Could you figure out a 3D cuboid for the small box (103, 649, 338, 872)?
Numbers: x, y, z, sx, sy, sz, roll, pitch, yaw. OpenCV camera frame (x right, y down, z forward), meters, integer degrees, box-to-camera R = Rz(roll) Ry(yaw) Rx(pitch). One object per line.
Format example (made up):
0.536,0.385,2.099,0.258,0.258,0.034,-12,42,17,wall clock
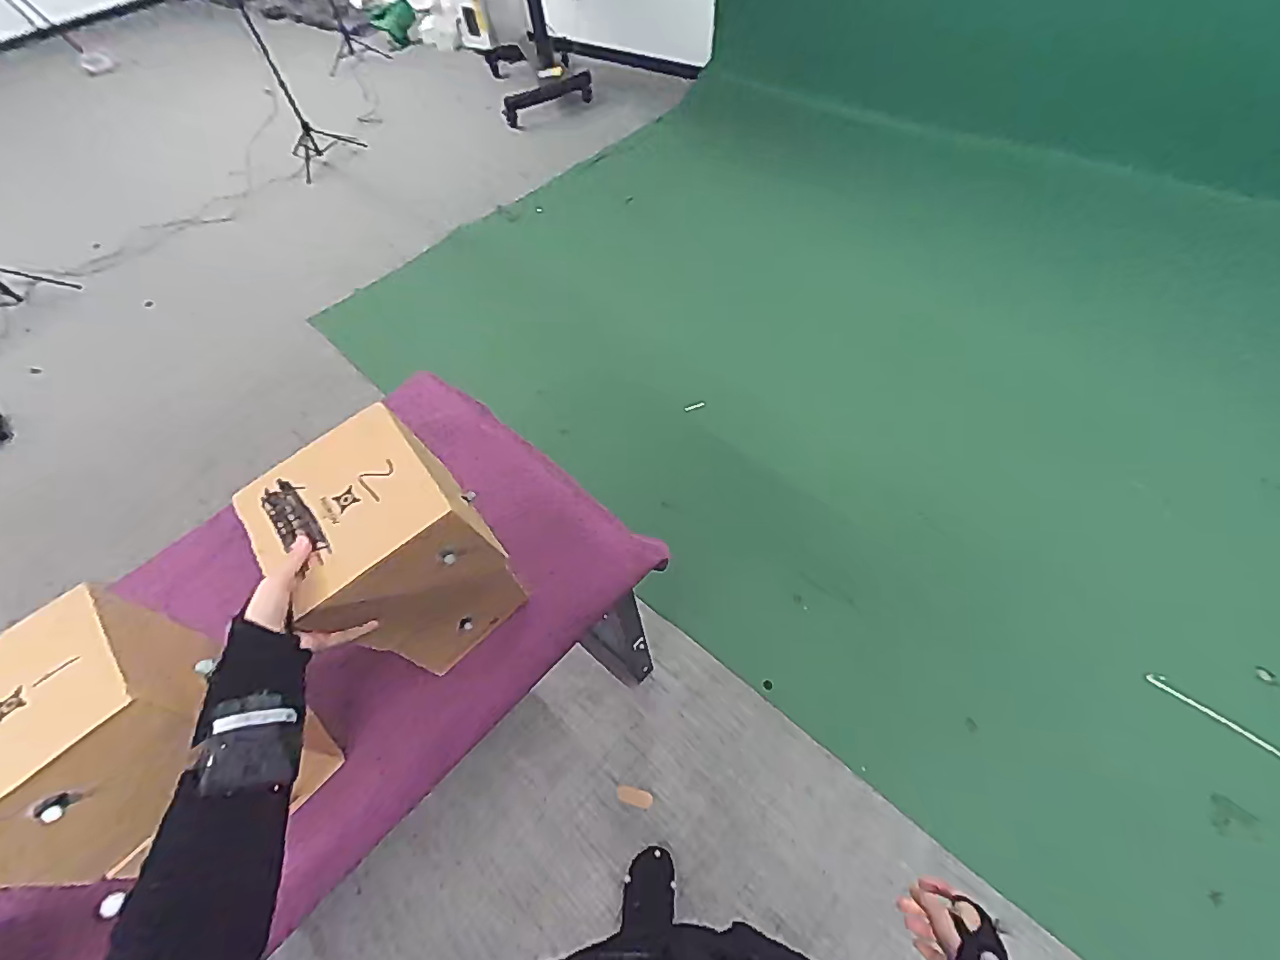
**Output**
-0.509,0.326,0.650,0.179,0.176,0.168,33,64,27,small box

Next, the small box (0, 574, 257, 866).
-0.525,0.232,0.516,0.168,0.176,0.179,36,65,28,small box

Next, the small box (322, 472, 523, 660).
-0.291,0.129,0.759,0.168,0.176,0.179,-41,63,-20,small box
